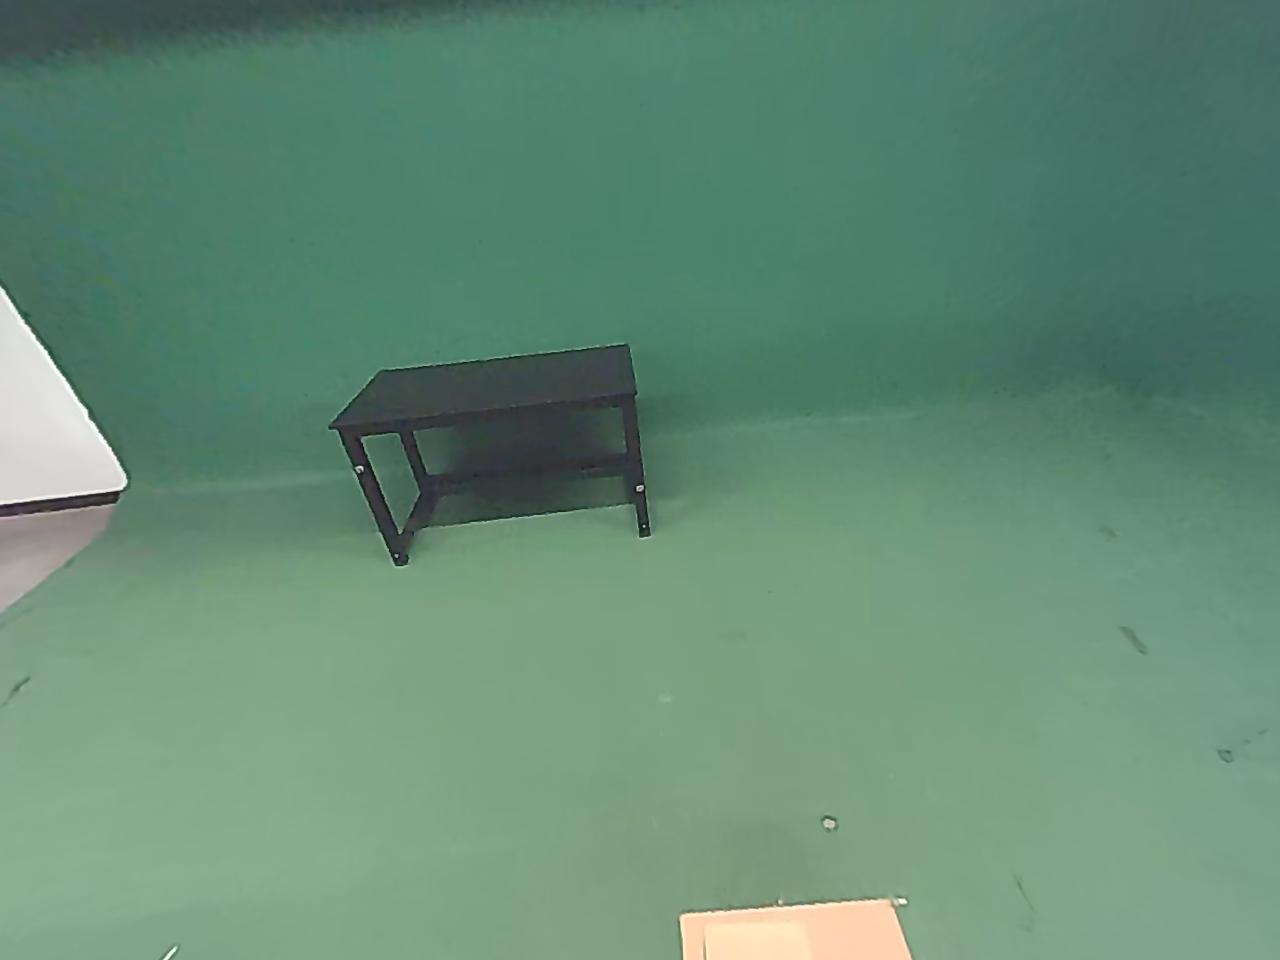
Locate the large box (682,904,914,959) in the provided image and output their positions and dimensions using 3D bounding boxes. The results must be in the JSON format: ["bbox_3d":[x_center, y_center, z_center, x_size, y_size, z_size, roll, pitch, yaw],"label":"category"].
[{"bbox_3d":[0.294,1.018,0.958,0.408,0.320,0.320,-5,32,1],"label":"large box"}]

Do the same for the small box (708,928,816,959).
[{"bbox_3d":[0.191,0.825,0.824,0.168,0.176,0.179,-4,32,3],"label":"small box"}]
